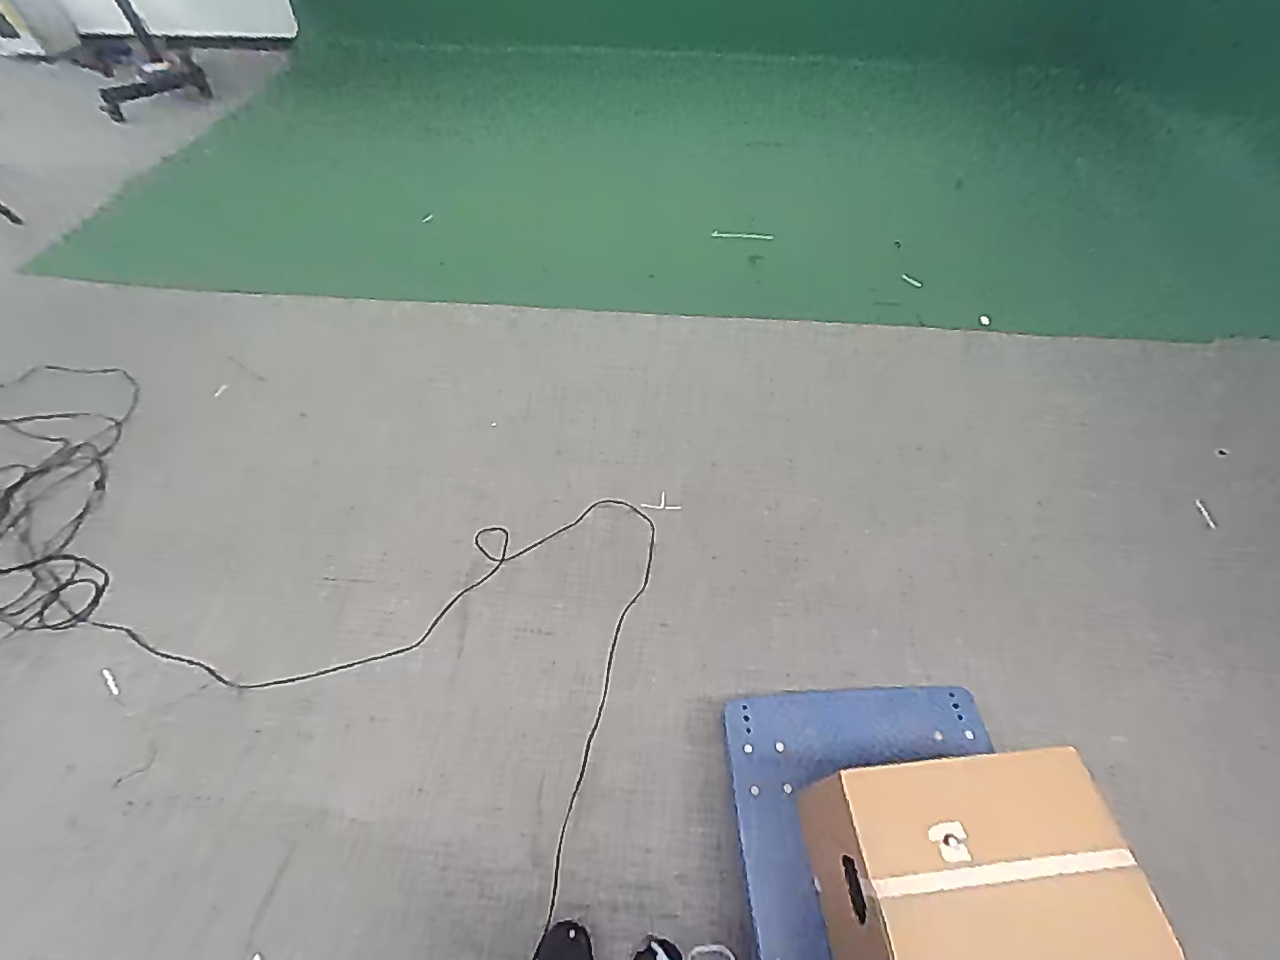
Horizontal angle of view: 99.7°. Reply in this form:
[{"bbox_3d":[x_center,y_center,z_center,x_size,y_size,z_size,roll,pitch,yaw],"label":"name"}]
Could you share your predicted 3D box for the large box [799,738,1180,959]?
[{"bbox_3d":[0.540,0.663,0.933,0.408,0.320,0.320,-5,54,-3],"label":"large box"}]
